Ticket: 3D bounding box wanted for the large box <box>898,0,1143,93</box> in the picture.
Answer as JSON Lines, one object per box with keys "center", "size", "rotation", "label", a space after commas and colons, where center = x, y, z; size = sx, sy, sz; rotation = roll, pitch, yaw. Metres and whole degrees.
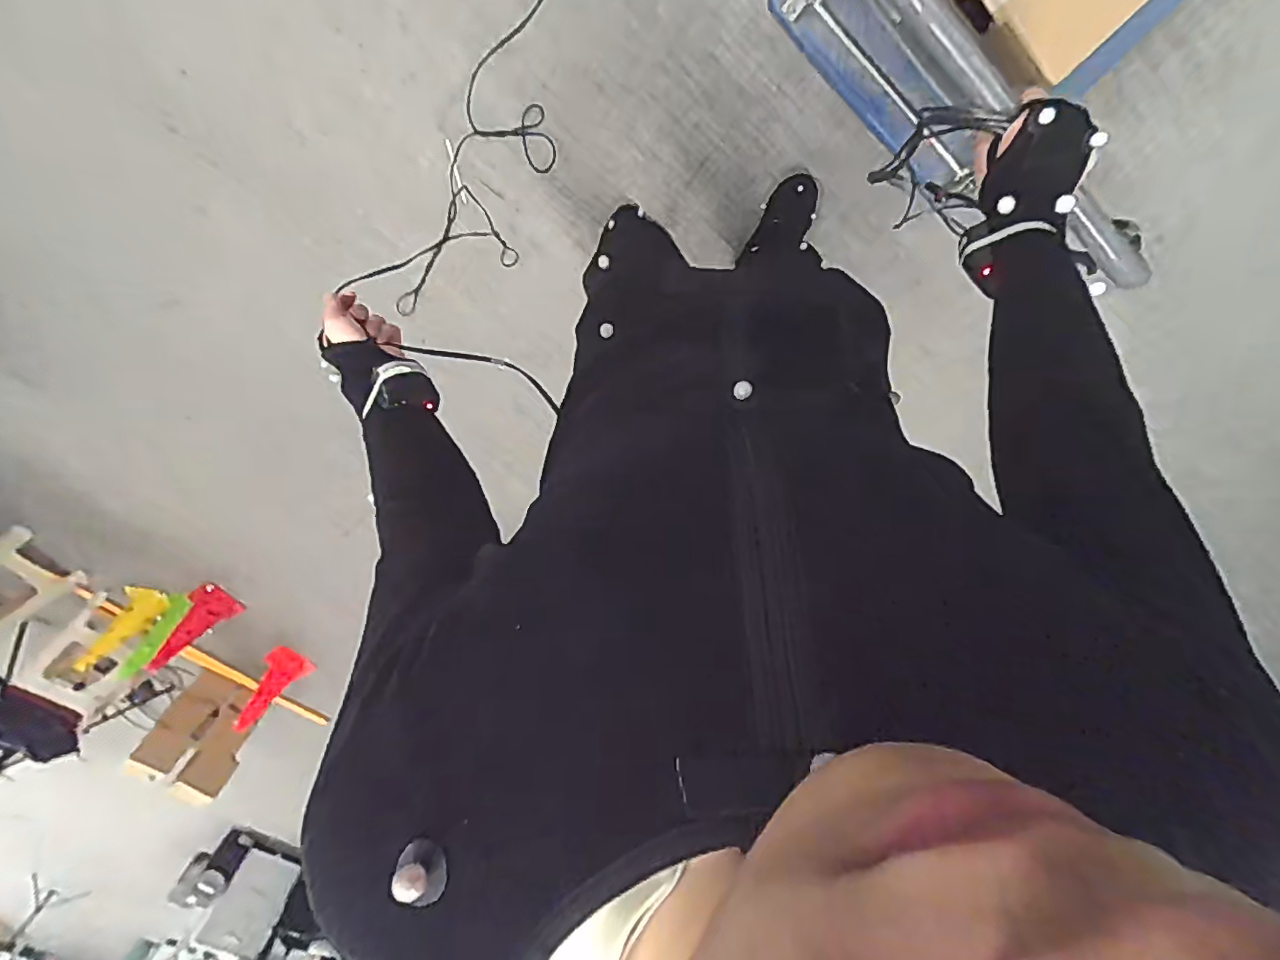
{"center": [0.625, -0.861, 0.774], "size": [0.320, 0.320, 0.408], "rotation": [37, 120, -18], "label": "large box"}
